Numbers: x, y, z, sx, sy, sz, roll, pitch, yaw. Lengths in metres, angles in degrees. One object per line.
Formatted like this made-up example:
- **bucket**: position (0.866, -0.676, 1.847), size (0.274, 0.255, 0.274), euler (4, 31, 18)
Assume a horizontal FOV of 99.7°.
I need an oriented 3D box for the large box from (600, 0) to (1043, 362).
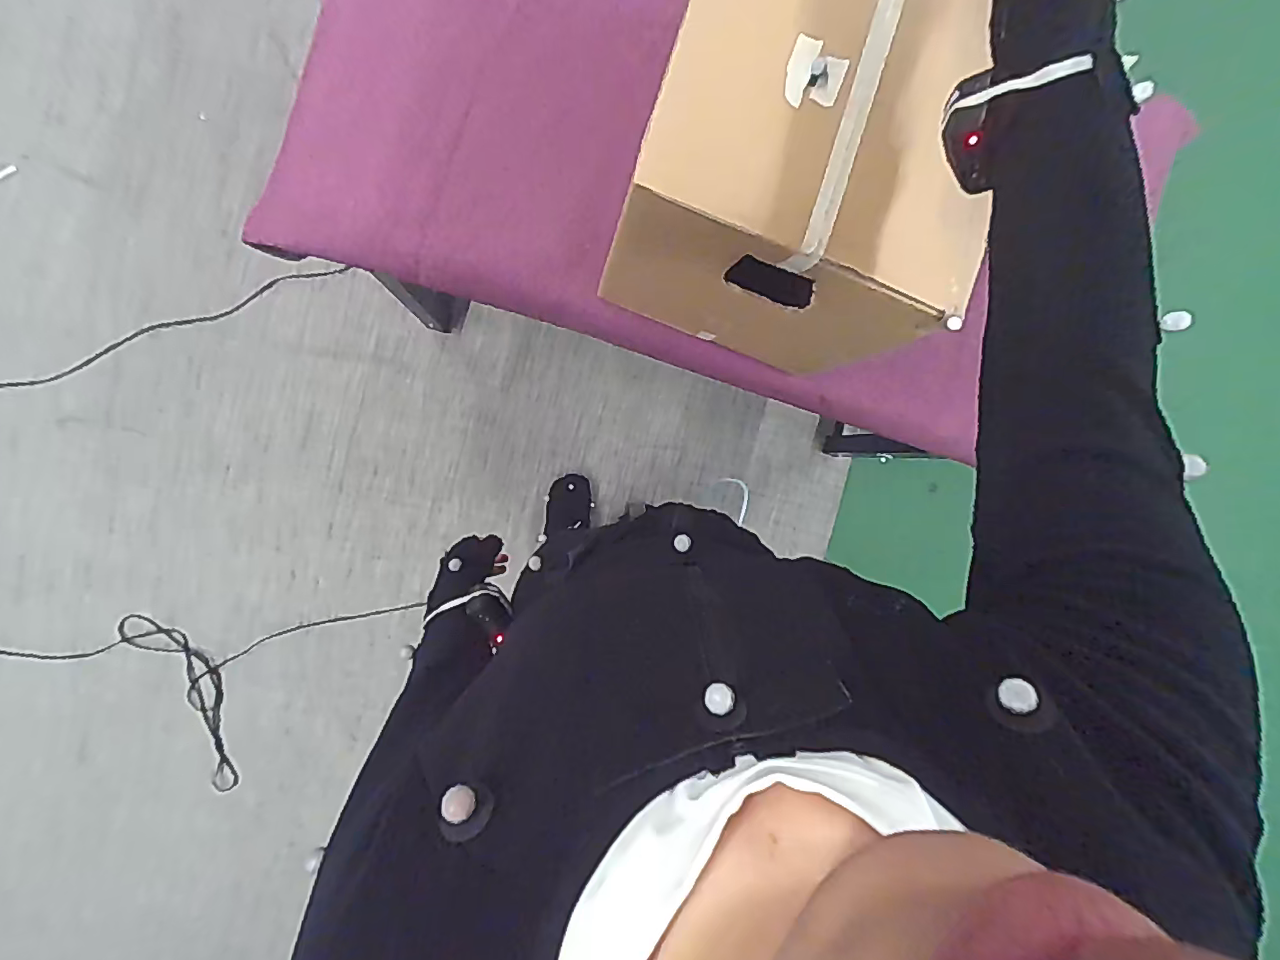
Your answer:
- **large box**: position (0.170, -0.393, 0.615), size (0.320, 0.320, 0.408), euler (18, 90, -10)
